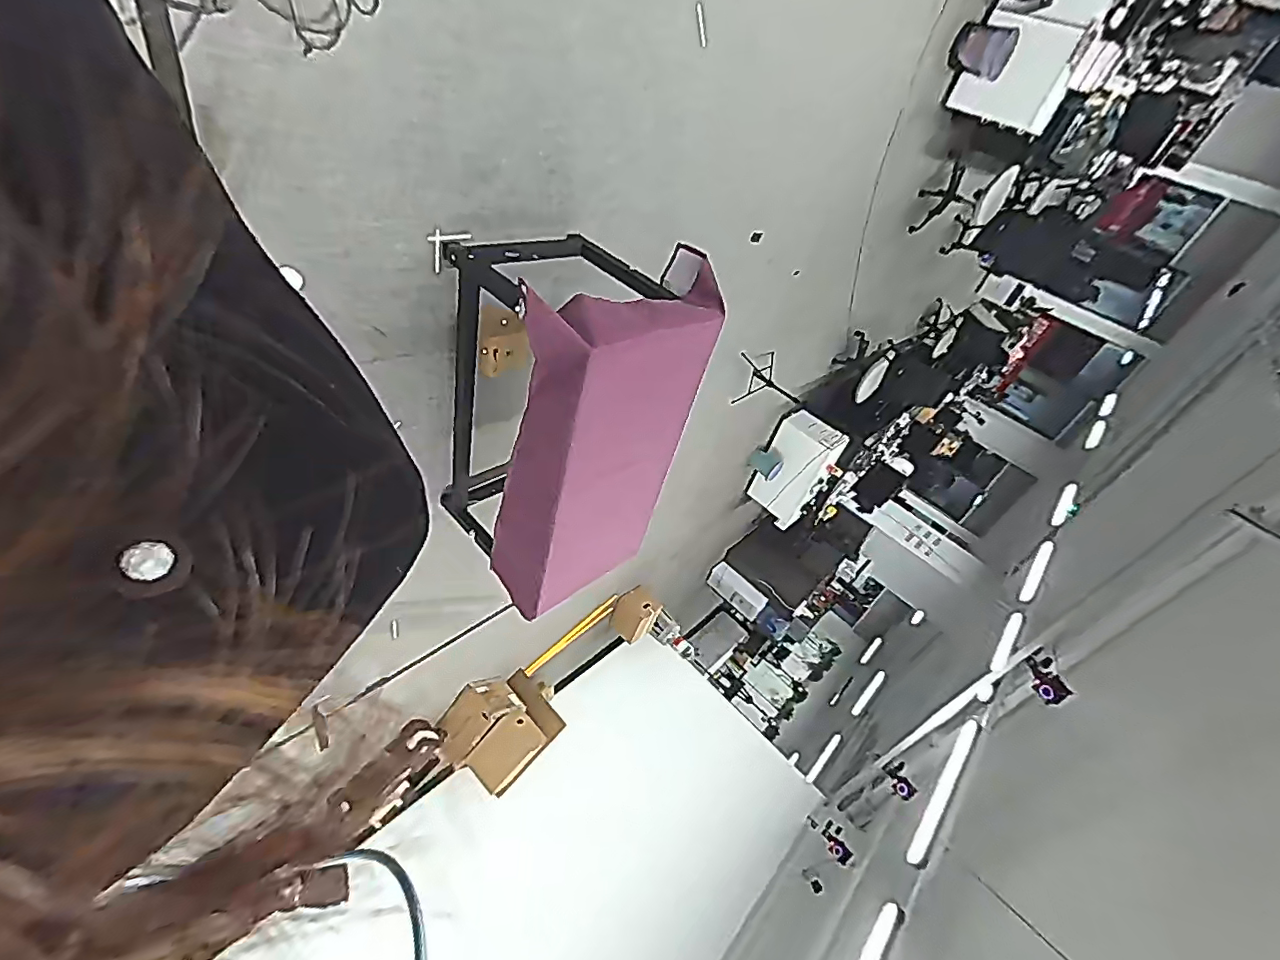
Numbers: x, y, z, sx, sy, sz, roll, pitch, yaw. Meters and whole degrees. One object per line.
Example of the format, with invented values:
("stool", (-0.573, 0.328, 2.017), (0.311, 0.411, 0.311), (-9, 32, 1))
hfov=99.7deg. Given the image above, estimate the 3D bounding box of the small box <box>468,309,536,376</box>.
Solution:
("small box", (-0.513, -0.517, 2.007), (0.179, 0.176, 0.168), (-29, 147, -39))
